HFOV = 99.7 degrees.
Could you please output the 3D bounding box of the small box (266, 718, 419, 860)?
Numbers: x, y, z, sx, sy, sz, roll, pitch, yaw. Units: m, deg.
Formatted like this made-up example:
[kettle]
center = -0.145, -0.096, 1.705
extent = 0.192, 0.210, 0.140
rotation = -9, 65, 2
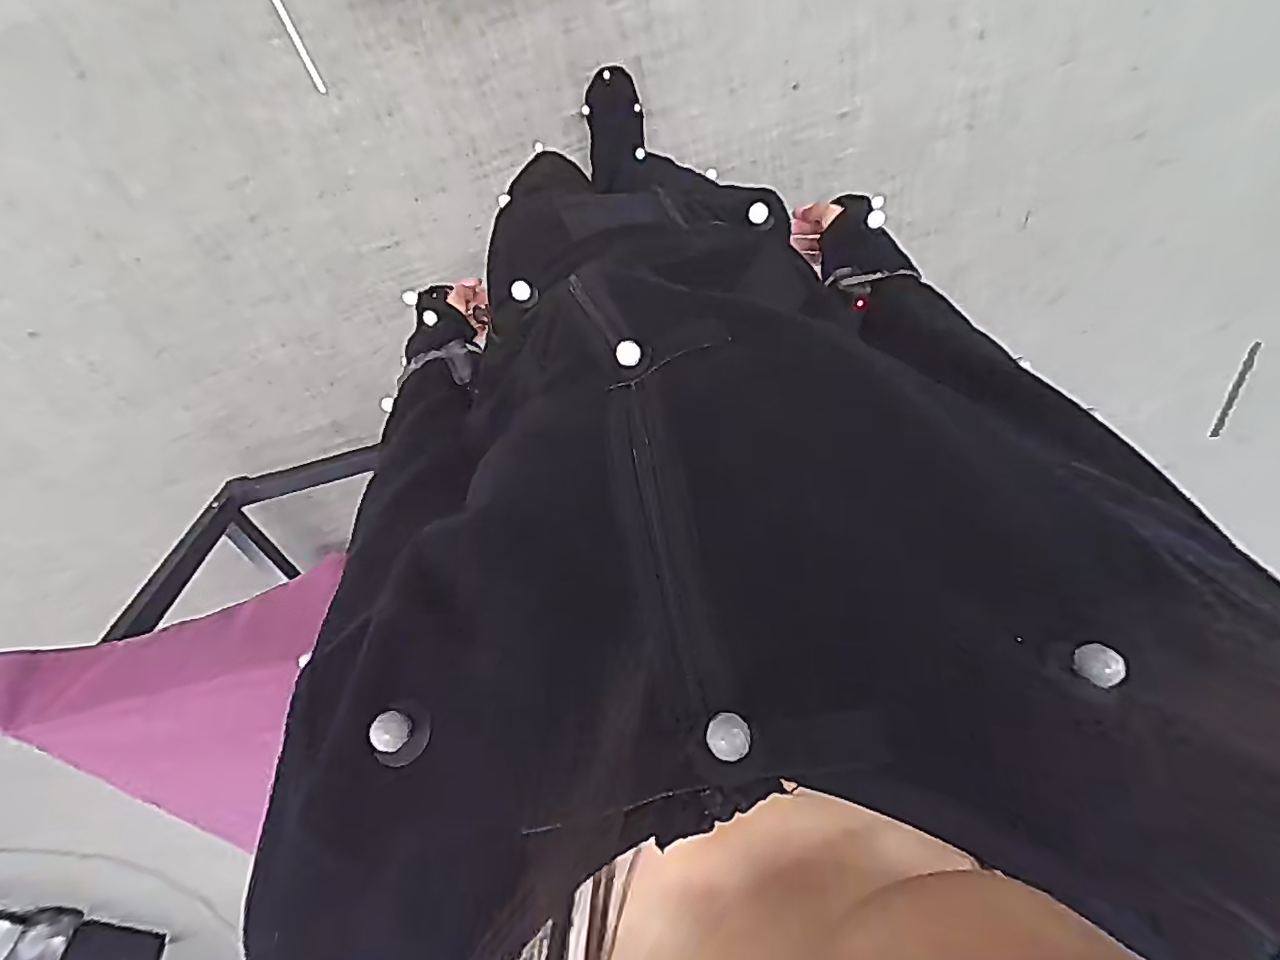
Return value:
[small box]
center = -0.534, 0.570, 1.006
extent = 0.179, 0.176, 0.168
rotation = -16, 128, 5
